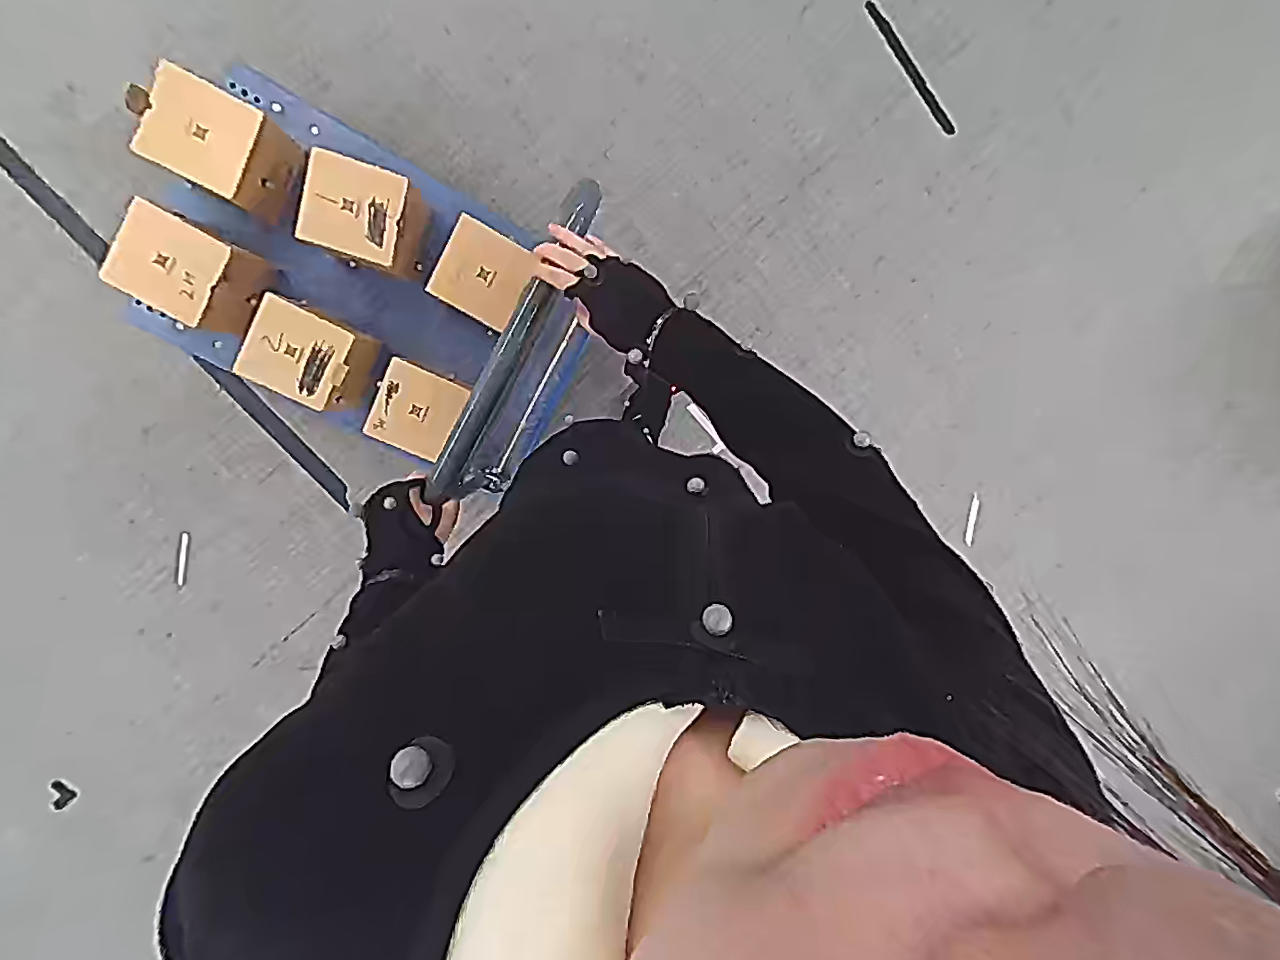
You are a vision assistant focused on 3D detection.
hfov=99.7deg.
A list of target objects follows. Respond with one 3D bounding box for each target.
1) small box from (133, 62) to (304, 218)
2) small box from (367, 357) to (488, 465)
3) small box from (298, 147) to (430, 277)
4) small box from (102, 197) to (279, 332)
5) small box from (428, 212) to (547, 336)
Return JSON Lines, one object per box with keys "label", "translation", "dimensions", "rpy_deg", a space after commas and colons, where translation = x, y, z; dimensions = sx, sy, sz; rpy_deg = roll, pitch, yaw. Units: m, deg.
{"label": "small box", "translation": [-0.781, -0.623, 1.023], "dimensions": [0.179, 0.176, 0.168], "rpy_deg": [24, 96, -11]}
{"label": "small box", "translation": [-0.439, -0.150, 1.151], "dimensions": [0.179, 0.176, 0.168], "rpy_deg": [23, 95, -11]}
{"label": "small box", "translation": [-0.535, -0.517, 1.074], "dimensions": [0.179, 0.176, 0.168], "rpy_deg": [15, 98, -9]}
{"label": "small box", "translation": [-0.857, -0.403, 1.051], "dimensions": [0.179, 0.176, 0.168], "rpy_deg": [29, 95, -12]}
{"label": "small box", "translation": [-0.304, -0.414, 1.124], "dimensions": [0.179, 0.176, 0.168], "rpy_deg": [27, 95, -10]}
